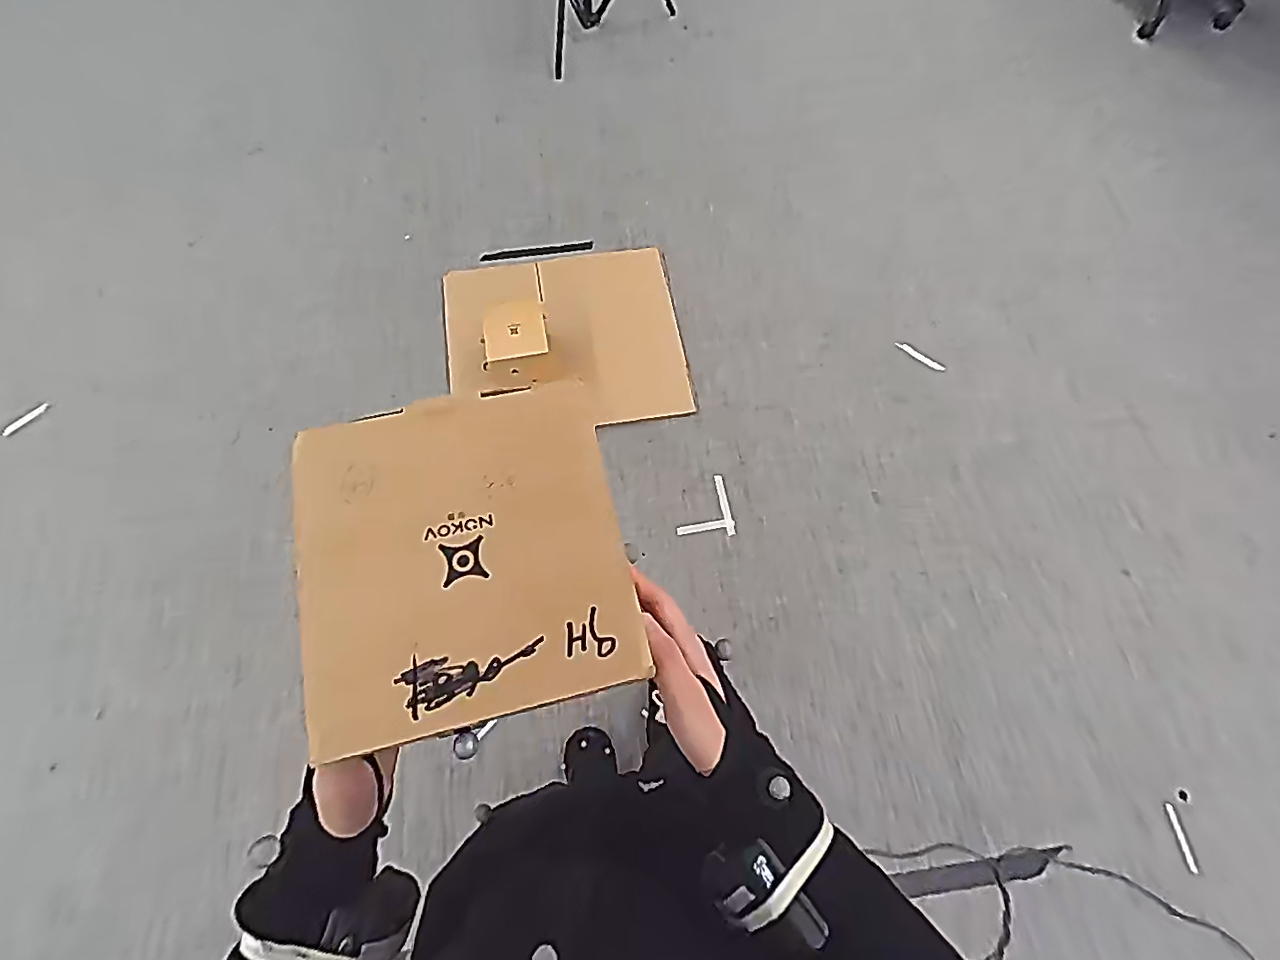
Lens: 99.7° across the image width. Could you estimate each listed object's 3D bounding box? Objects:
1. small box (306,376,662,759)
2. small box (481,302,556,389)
[{"bbox_3d":[-0.090,0.062,0.356,0.168,0.176,0.179,-13,70,-6],"label":"small box"},{"bbox_3d":[-0.339,-0.371,1.532,0.168,0.176,0.179,-11,71,-5],"label":"small box"}]
